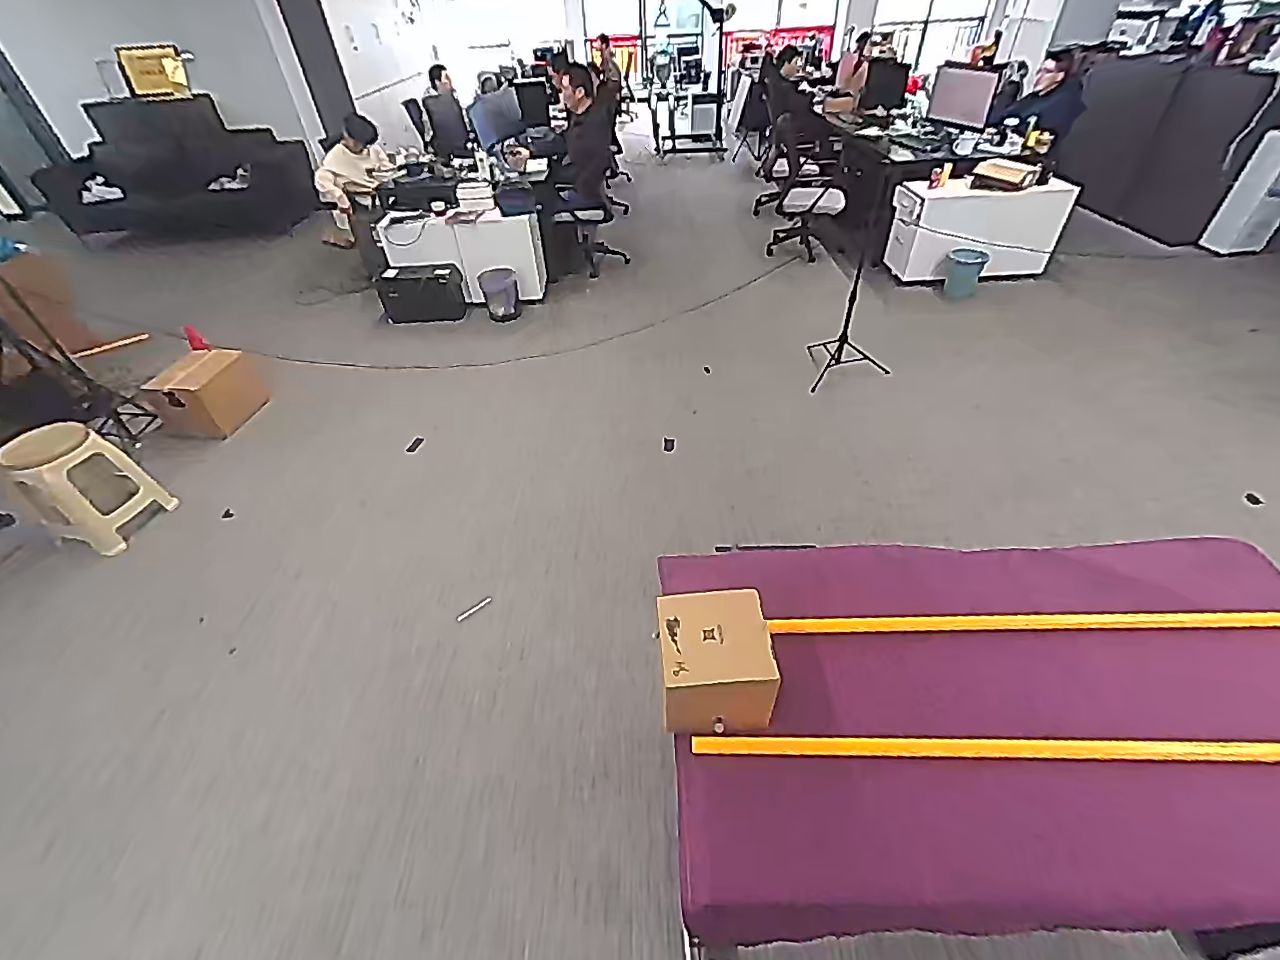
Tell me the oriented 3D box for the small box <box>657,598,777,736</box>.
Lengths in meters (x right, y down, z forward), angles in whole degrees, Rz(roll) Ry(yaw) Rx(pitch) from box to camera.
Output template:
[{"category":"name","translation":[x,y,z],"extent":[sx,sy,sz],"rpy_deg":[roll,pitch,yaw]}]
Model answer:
[{"category":"small box","translation":[0.121,0.321,0.927],"extent":[0.179,0.176,0.168],"rpy_deg":[-3,42,-1]}]
